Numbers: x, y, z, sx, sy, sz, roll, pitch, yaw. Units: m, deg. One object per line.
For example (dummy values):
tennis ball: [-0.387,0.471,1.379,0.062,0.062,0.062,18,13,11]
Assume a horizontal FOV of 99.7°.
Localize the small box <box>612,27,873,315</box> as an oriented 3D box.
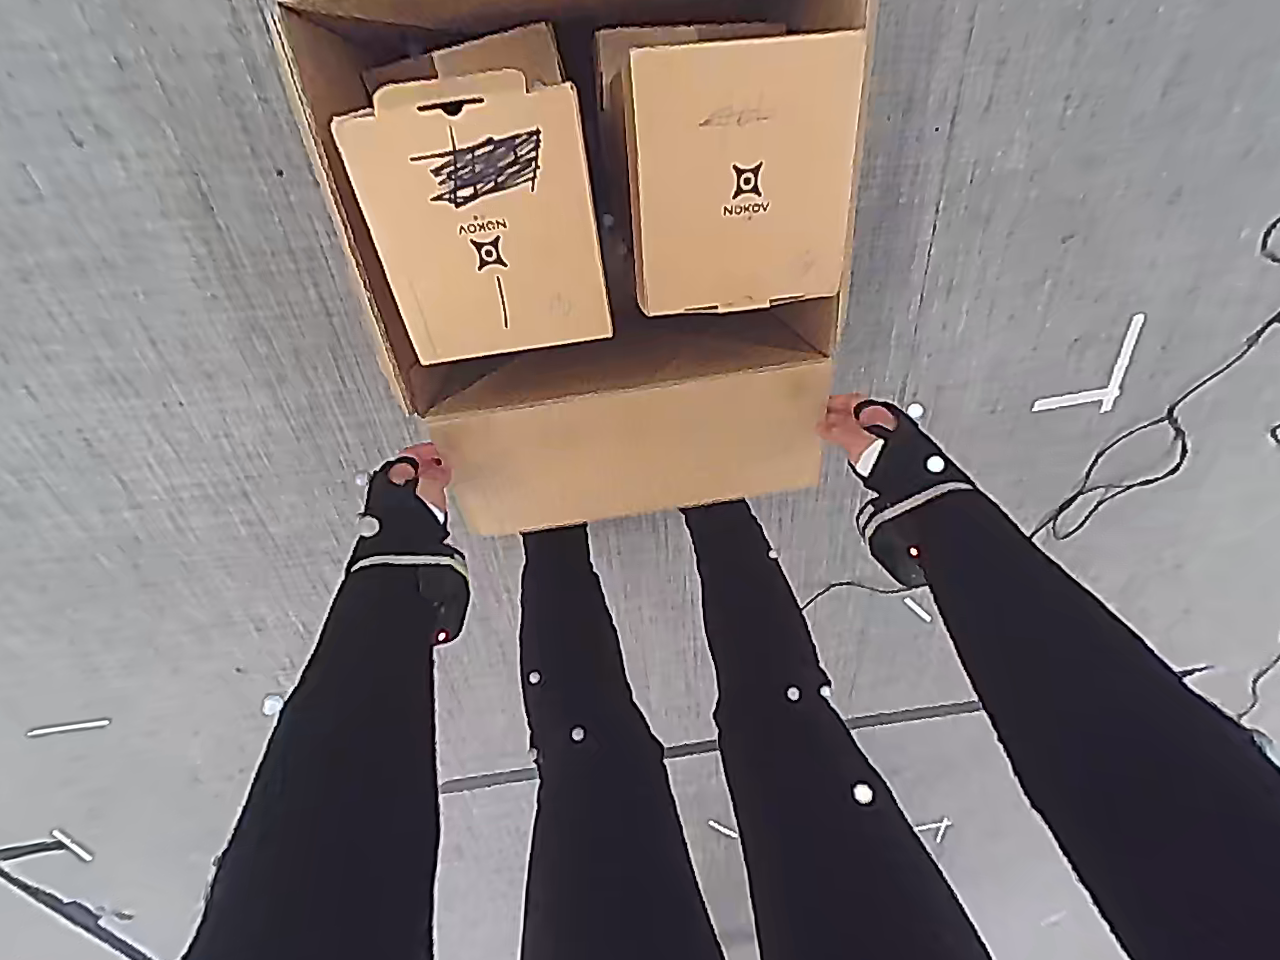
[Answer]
small box: [0.071,-0.257,0.466,0.168,0.176,0.179,-9,120,-5]
